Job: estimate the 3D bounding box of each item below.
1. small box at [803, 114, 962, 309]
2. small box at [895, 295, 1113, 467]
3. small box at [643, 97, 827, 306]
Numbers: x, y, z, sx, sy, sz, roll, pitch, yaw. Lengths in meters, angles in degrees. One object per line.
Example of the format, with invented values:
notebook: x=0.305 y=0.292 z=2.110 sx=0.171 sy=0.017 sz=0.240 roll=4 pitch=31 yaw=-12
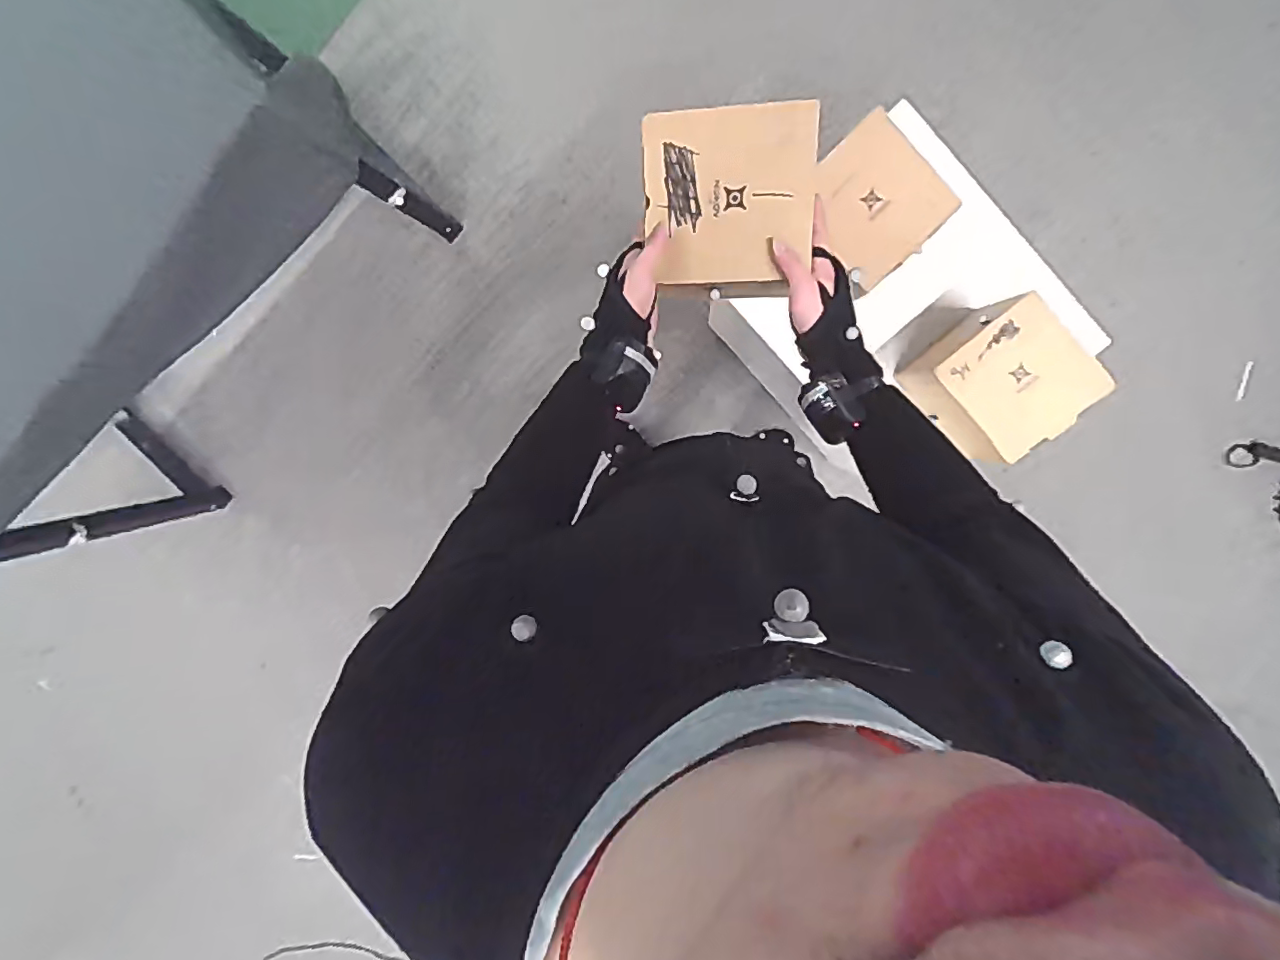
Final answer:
small box: x=0.314 y=-0.373 z=0.794 sx=0.179 sy=0.176 sz=0.168 roll=45 pitch=97 yaw=-3
small box: x=0.528 y=-0.145 z=0.812 sx=0.168 sy=0.176 sz=0.179 roll=-42 pitch=94 yaw=8
small box: x=0.102 y=-0.292 z=0.608 sx=0.179 sy=0.176 sz=0.168 roll=-1 pitch=102 yaw=8
